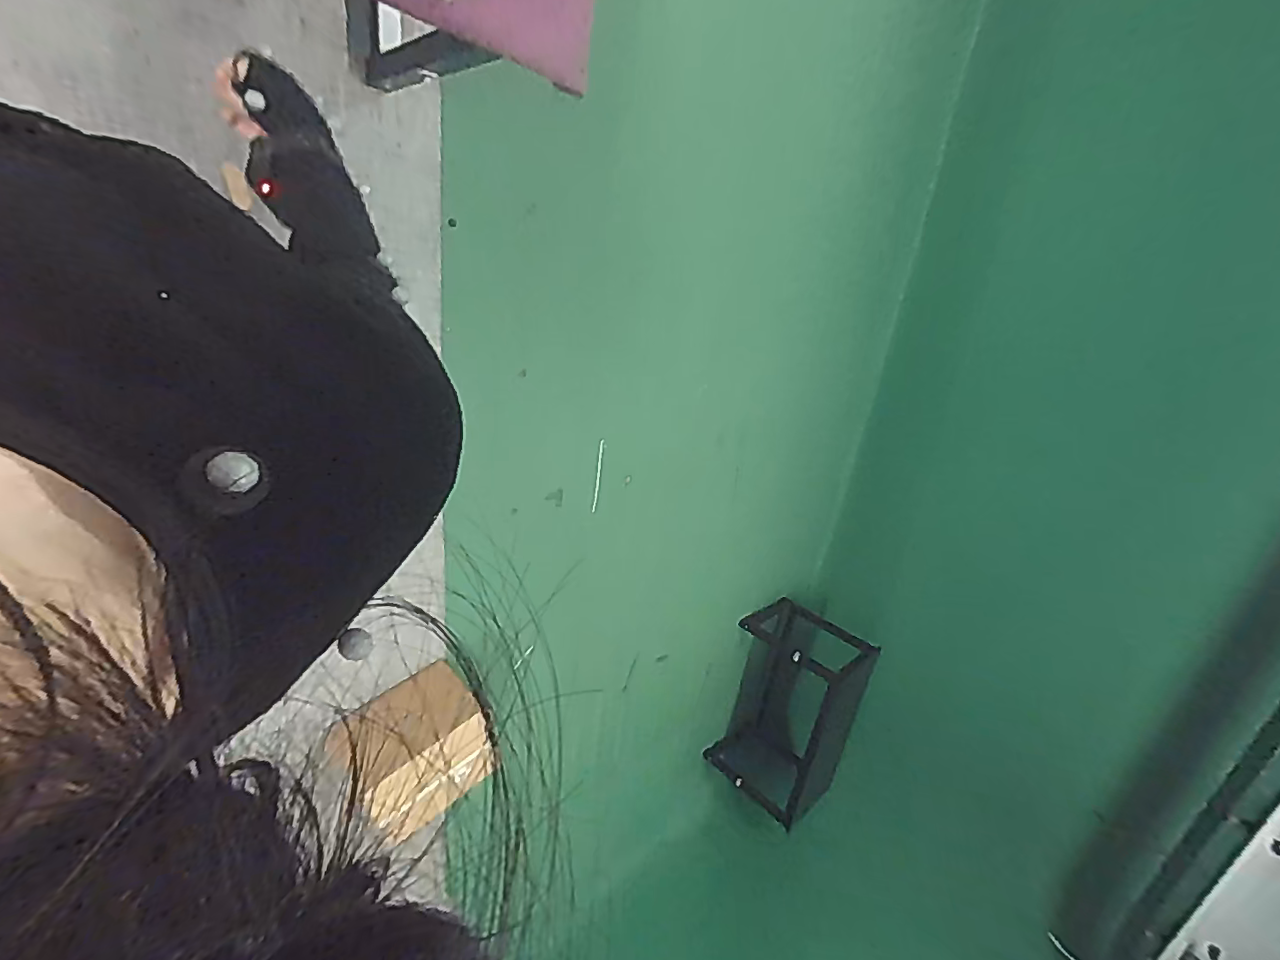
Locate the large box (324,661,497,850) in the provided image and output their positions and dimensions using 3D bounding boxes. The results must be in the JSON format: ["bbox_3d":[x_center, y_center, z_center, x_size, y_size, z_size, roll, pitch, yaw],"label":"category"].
[{"bbox_3d":[-0.758,0.900,1.814,0.408,0.320,0.320,-29,130,-36],"label":"large box"}]
